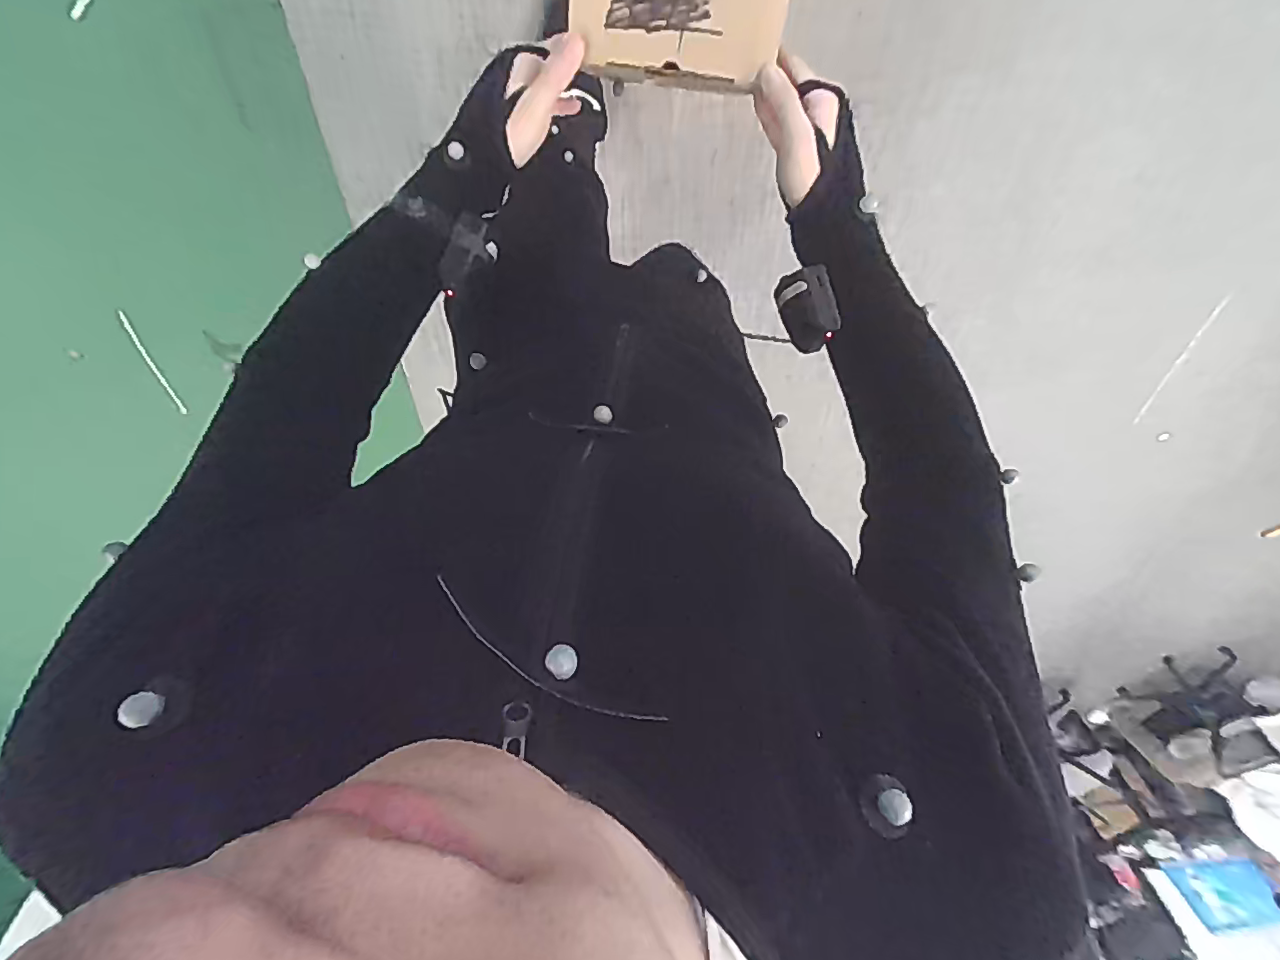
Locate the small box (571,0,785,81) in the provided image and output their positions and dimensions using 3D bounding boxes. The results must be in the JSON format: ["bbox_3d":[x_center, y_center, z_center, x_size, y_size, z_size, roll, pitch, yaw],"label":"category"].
[{"bbox_3d":[0.038,-0.453,0.452,0.168,0.176,0.179,6,122,-2],"label":"small box"}]
